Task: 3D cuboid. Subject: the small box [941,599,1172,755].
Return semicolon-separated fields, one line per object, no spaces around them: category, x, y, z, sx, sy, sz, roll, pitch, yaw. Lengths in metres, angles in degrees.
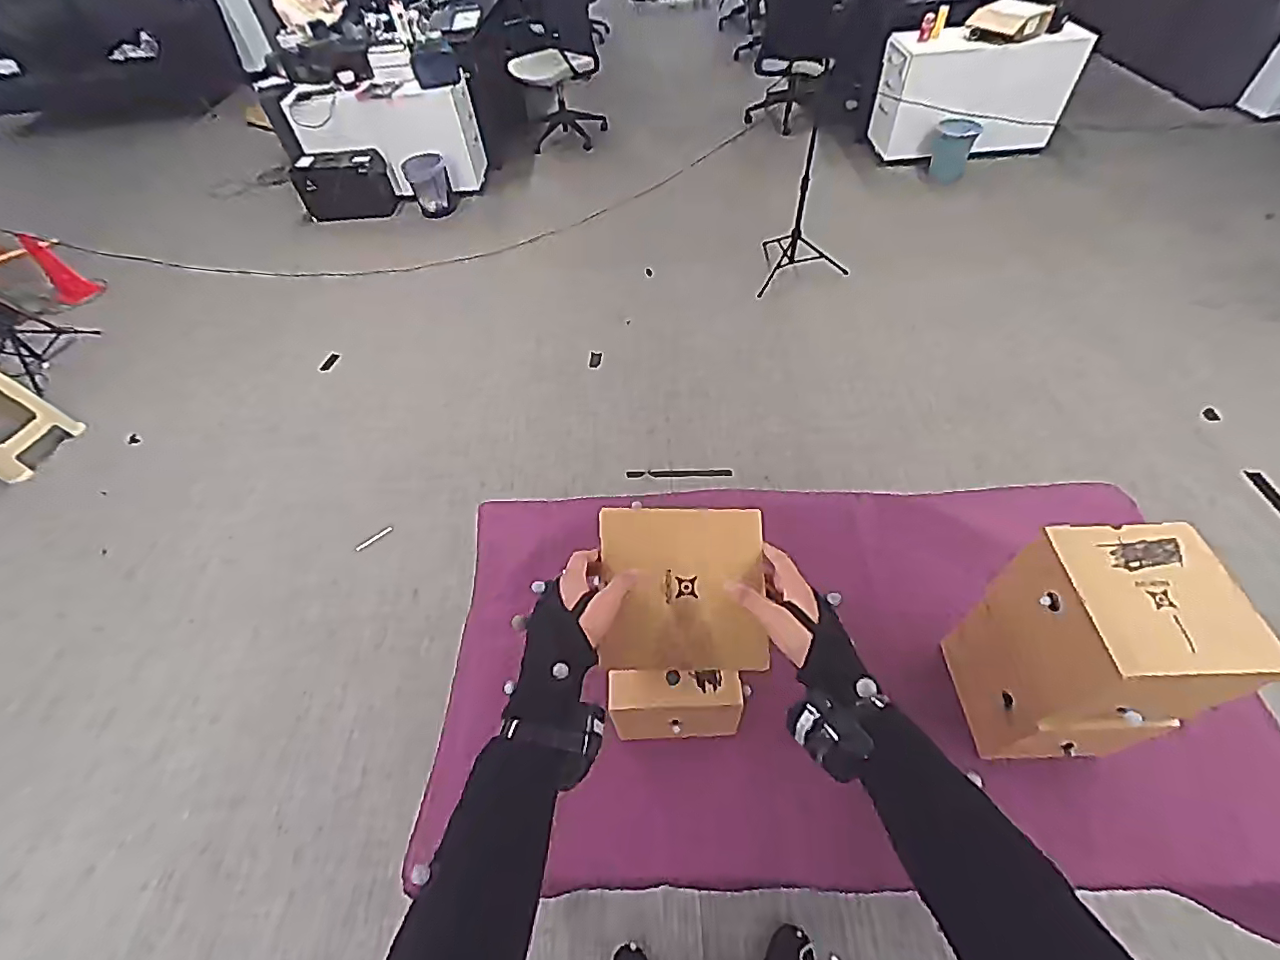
small box;0.562;0.281;0.763;0.168;0.176;0.179;-2;52;3

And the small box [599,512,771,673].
small box;0.045;0.130;0.639;0.179;0.176;0.168;0;77;0

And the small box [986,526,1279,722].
small box;0.552;0.173;0.640;0.168;0.176;0.179;-2;53;3
